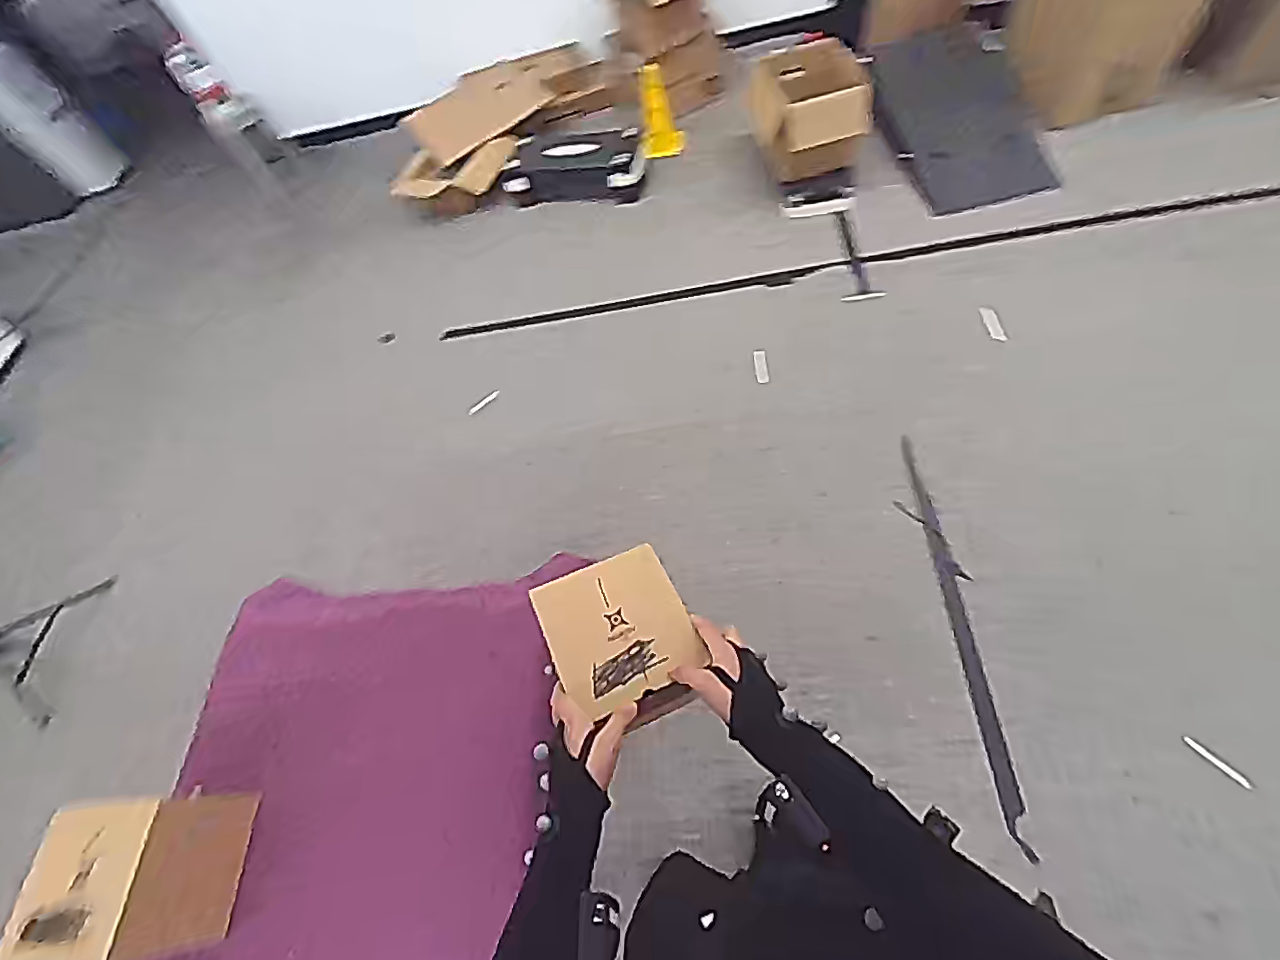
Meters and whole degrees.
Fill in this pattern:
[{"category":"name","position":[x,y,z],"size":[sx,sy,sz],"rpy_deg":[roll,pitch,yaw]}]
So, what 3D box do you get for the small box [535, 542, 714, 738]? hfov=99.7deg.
[{"category":"small box","position":[-0.022,0.215,0.700],"size":[0.168,0.176,0.179],"rpy_deg":[-20,59,-14]}]
